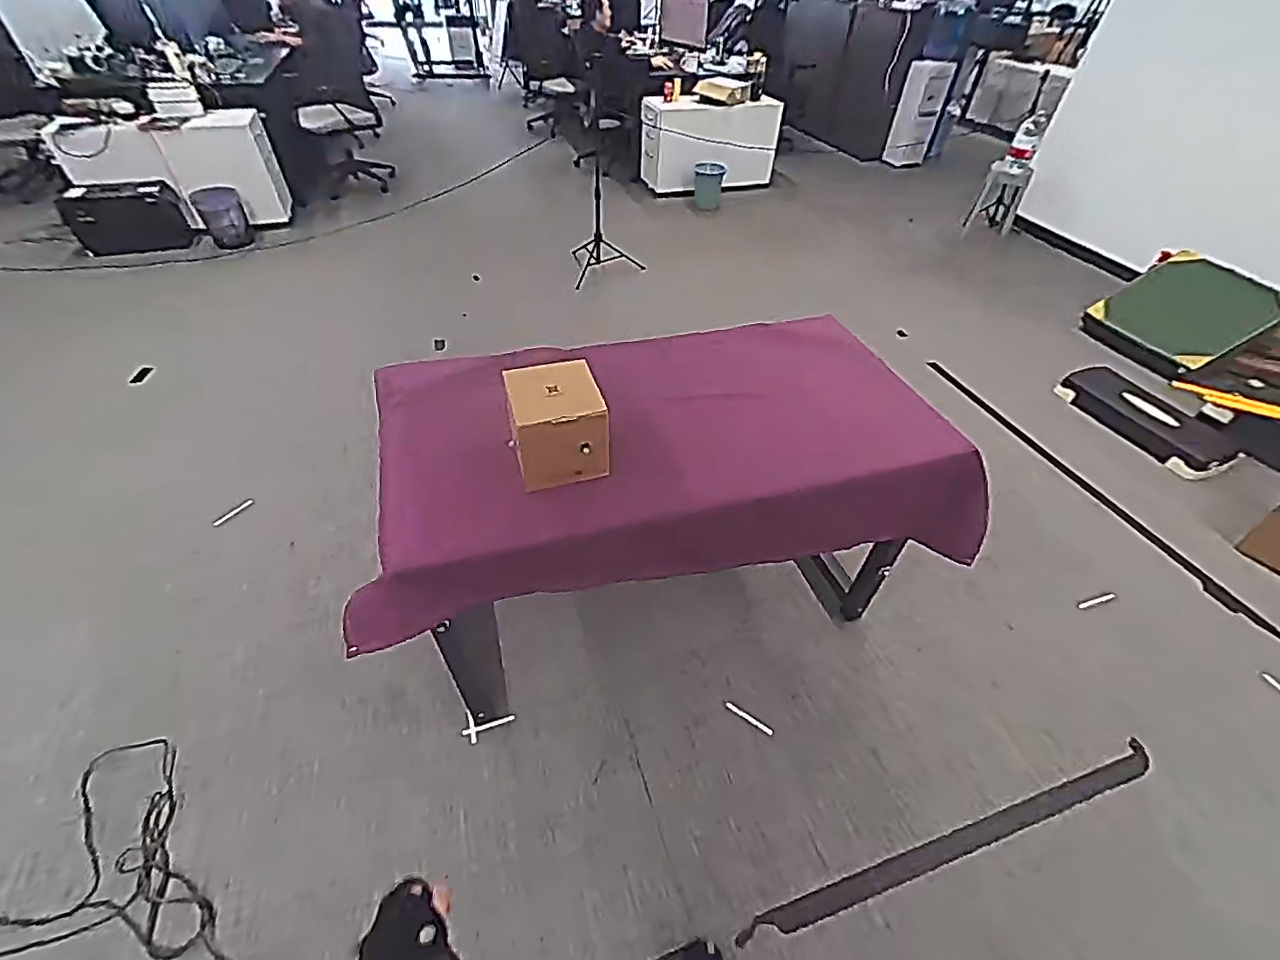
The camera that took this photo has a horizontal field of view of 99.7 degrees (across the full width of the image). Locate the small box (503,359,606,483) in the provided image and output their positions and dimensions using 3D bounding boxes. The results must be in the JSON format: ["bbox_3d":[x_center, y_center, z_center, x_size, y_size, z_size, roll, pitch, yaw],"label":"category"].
[{"bbox_3d":[-0.163,-0.110,1.057,0.168,0.176,0.179,-11,47,-15],"label":"small box"}]
